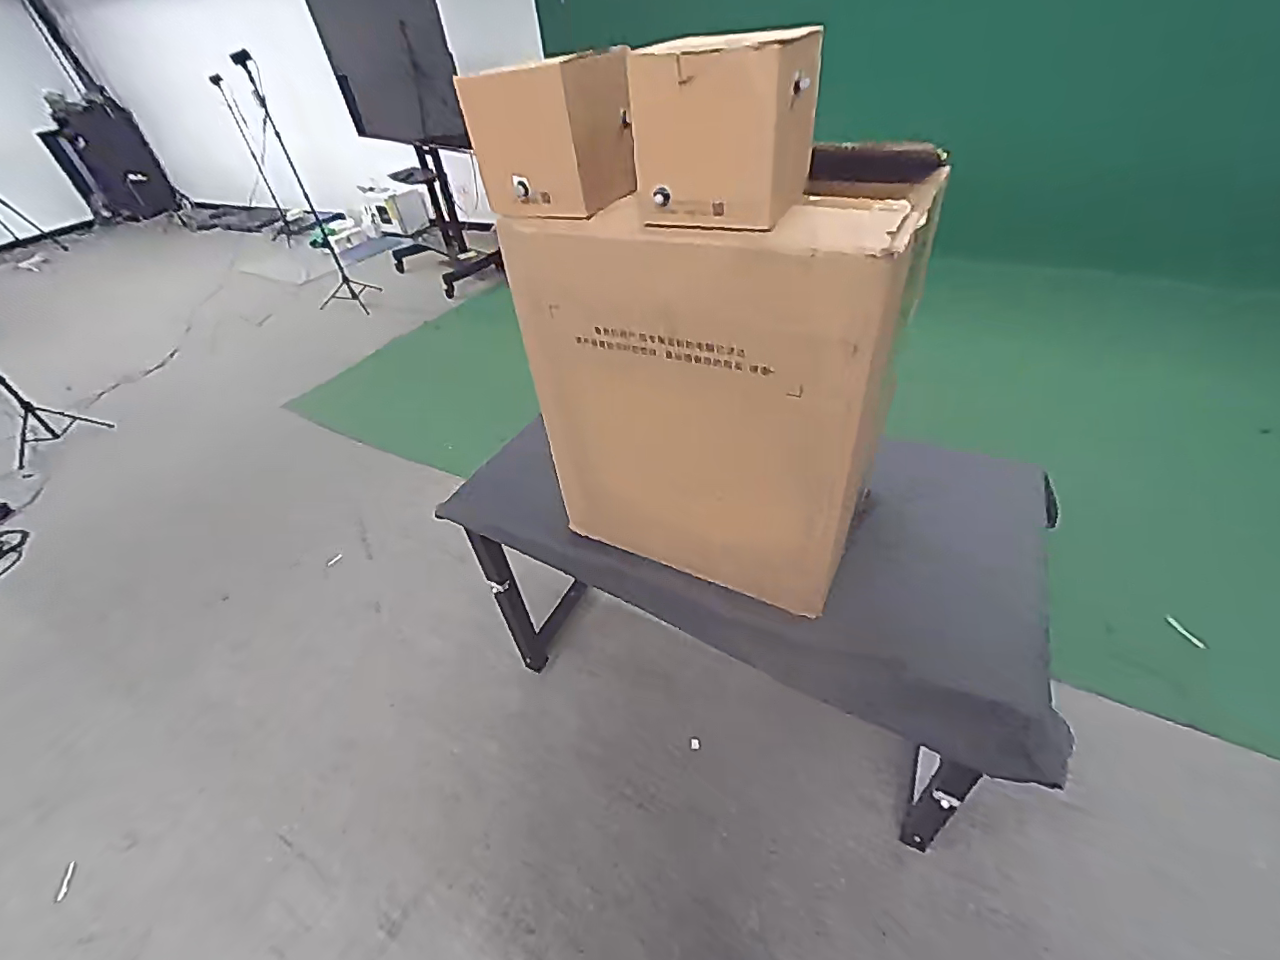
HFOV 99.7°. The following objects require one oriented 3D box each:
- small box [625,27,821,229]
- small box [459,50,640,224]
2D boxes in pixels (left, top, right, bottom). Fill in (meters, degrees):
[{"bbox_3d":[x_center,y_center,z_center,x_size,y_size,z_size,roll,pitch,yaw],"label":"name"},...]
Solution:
[{"bbox_3d":[0.102,-0.409,0.637,0.168,0.176,0.179,15,45,23],"label":"small box"},{"bbox_3d":[-0.110,-0.471,0.749,0.168,0.176,0.179,12,46,26],"label":"small box"}]
